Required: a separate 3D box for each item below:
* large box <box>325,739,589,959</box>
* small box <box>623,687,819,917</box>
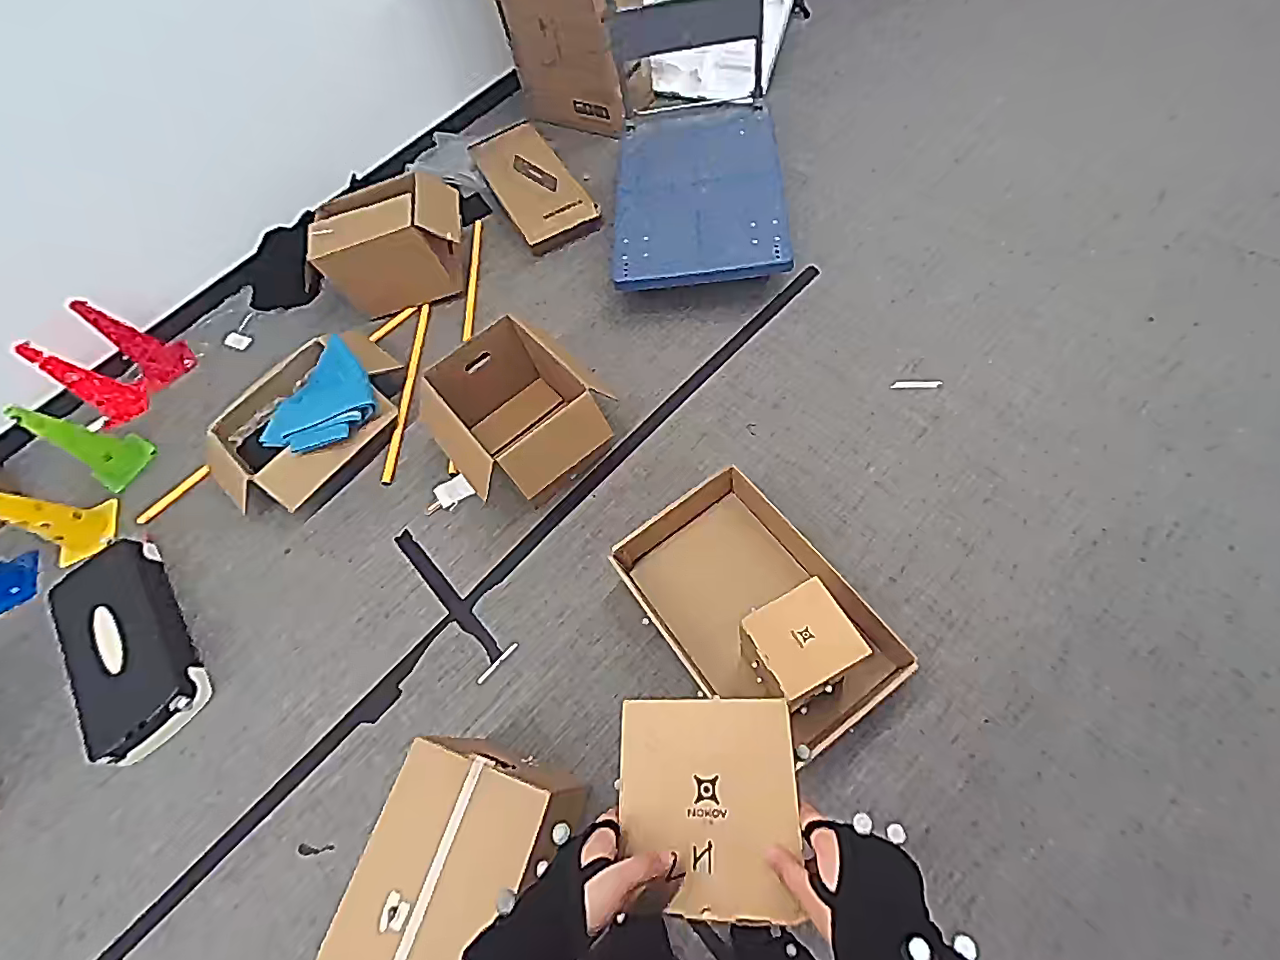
[{"bbox_3d":[-0.336,0.785,1.104,0.320,0.320,0.408,12,68,17],"label":"large box"},{"bbox_3d":[0.085,0.320,0.559,0.168,0.176,0.179,-5,60,12],"label":"small box"}]
